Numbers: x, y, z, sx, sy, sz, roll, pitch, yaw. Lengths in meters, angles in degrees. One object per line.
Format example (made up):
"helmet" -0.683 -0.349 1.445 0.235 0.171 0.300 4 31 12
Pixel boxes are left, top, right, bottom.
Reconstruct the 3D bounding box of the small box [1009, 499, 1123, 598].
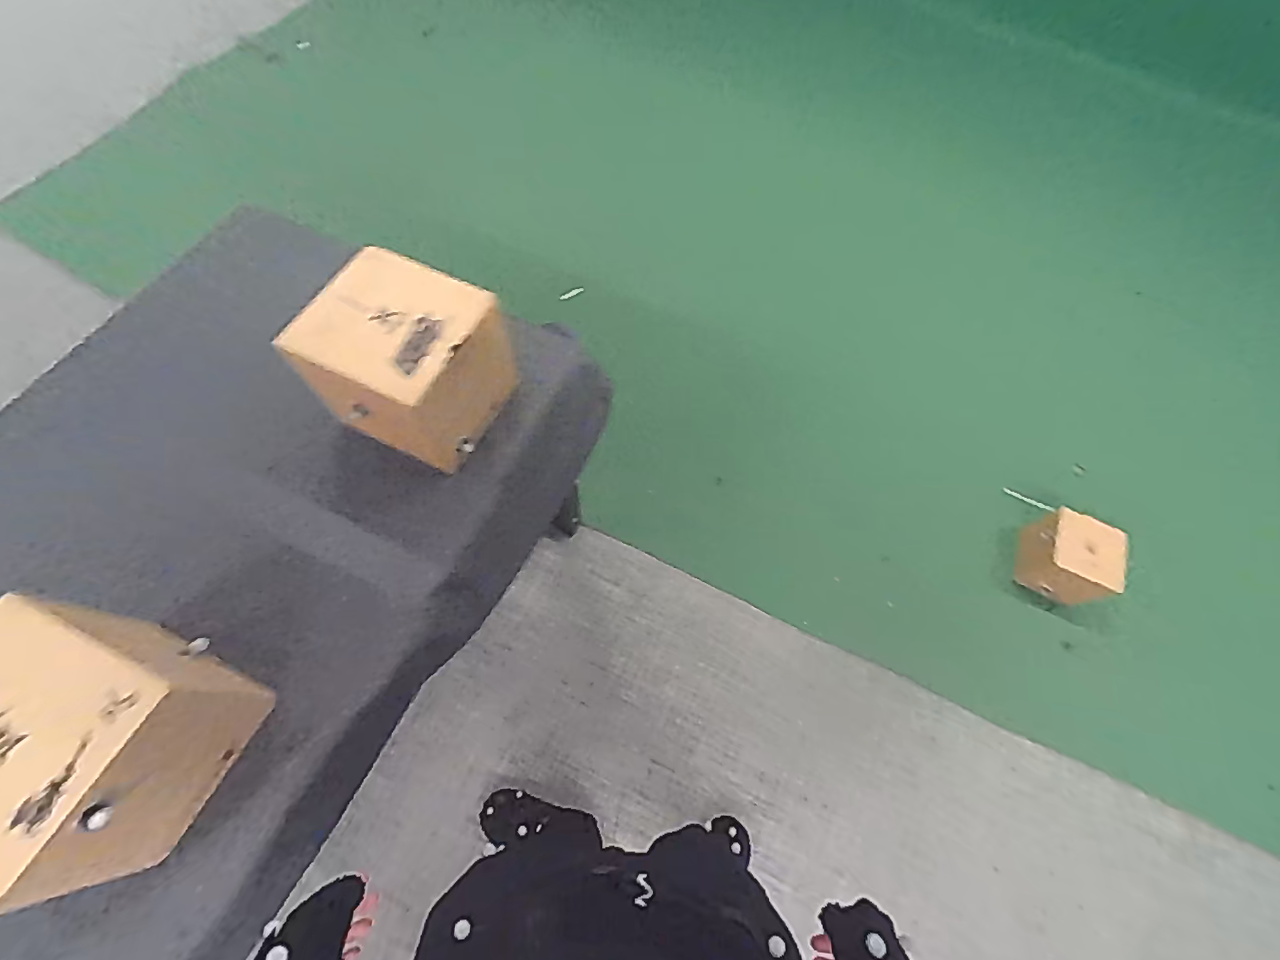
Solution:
"small box" 1.114 0.185 1.423 0.168 0.176 0.179 26 66 9

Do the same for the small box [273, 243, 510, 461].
"small box" -0.281 -0.144 0.662 0.179 0.176 0.168 24 67 8

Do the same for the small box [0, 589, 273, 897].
"small box" -0.489 0.224 0.480 0.179 0.176 0.168 24 66 7
